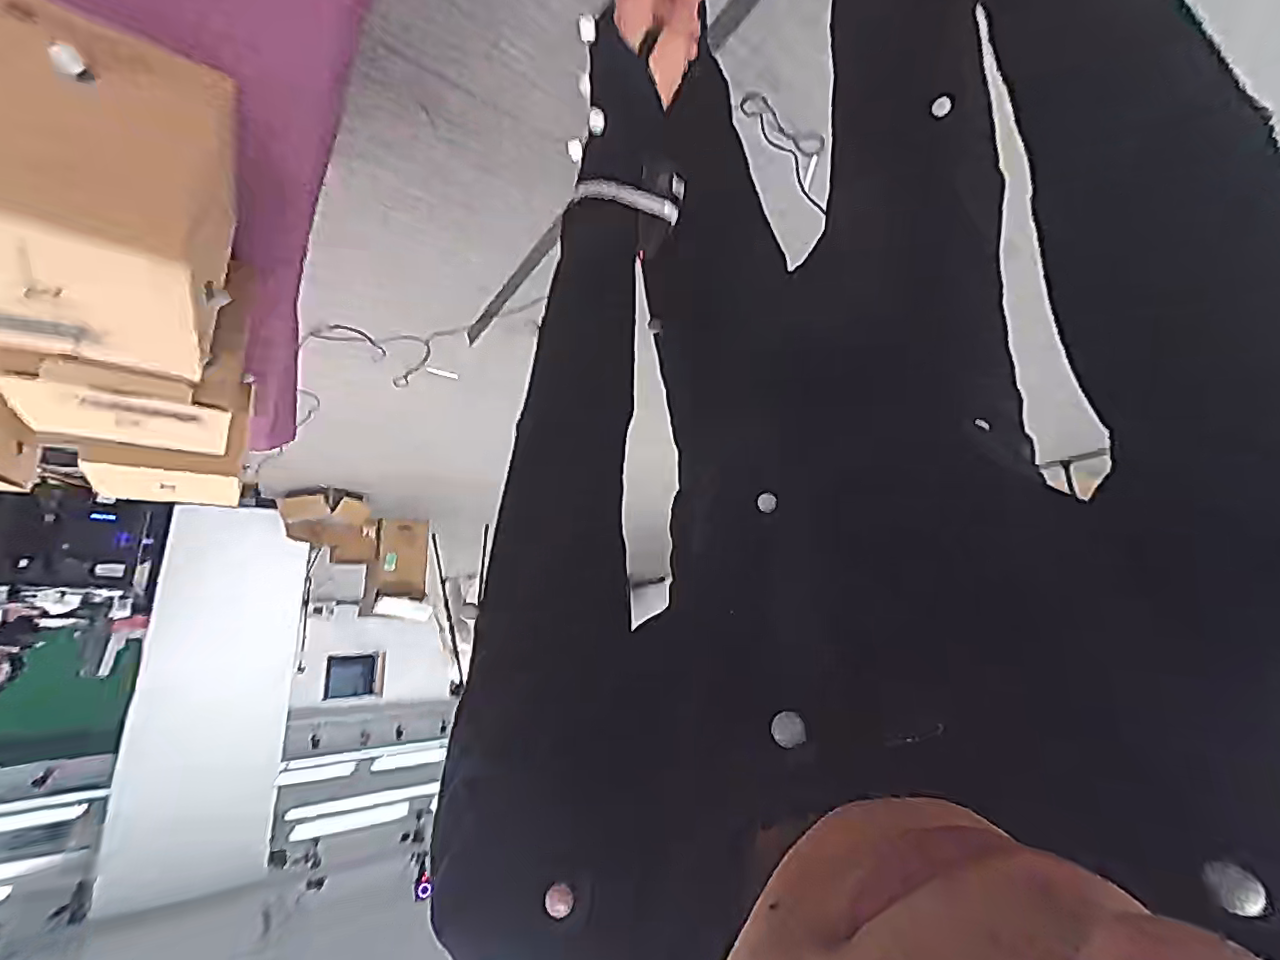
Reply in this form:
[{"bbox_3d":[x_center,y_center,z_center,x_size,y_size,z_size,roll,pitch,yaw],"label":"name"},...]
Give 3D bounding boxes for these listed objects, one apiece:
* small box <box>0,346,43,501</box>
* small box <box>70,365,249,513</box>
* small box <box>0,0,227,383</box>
[{"bbox_3d":[-0.891,-0.081,0.665,0.168,0.176,0.179,7,160,-34],"label":"small box"},{"bbox_3d":[-0.688,-0.057,0.795,0.168,0.176,0.179,8,160,-35],"label":"small box"},{"bbox_3d":[-0.409,-0.196,0.384,0.168,0.176,0.179,9,160,-34],"label":"small box"}]
